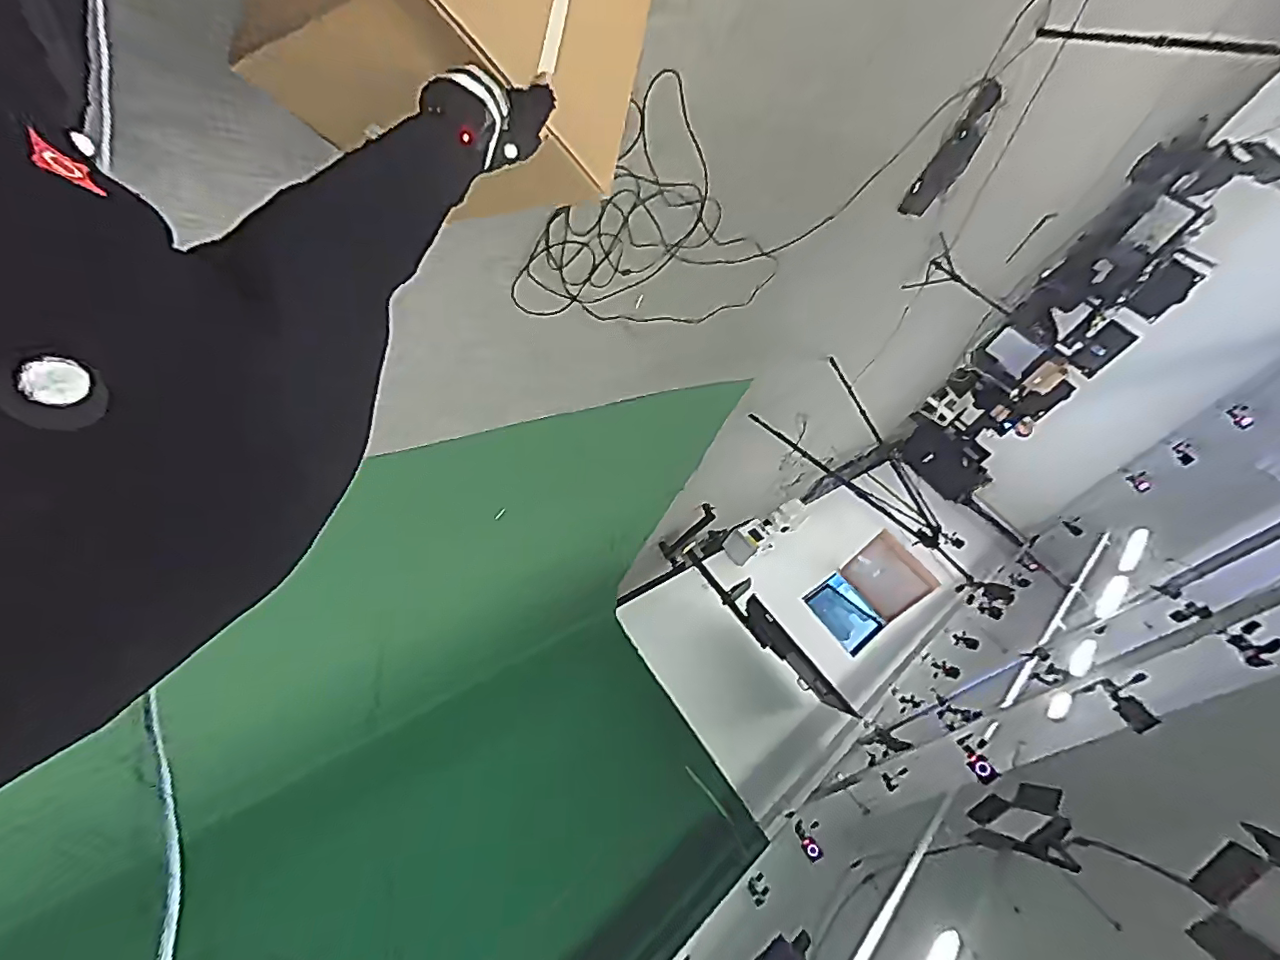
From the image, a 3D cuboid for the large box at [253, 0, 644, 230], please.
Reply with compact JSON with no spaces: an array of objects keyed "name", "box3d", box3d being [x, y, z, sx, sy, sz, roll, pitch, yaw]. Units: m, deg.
[{"name":"large box","box3d":[-0.213,-0.597,0.678,0.320,0.320,0.408,18,81,-60]}]
